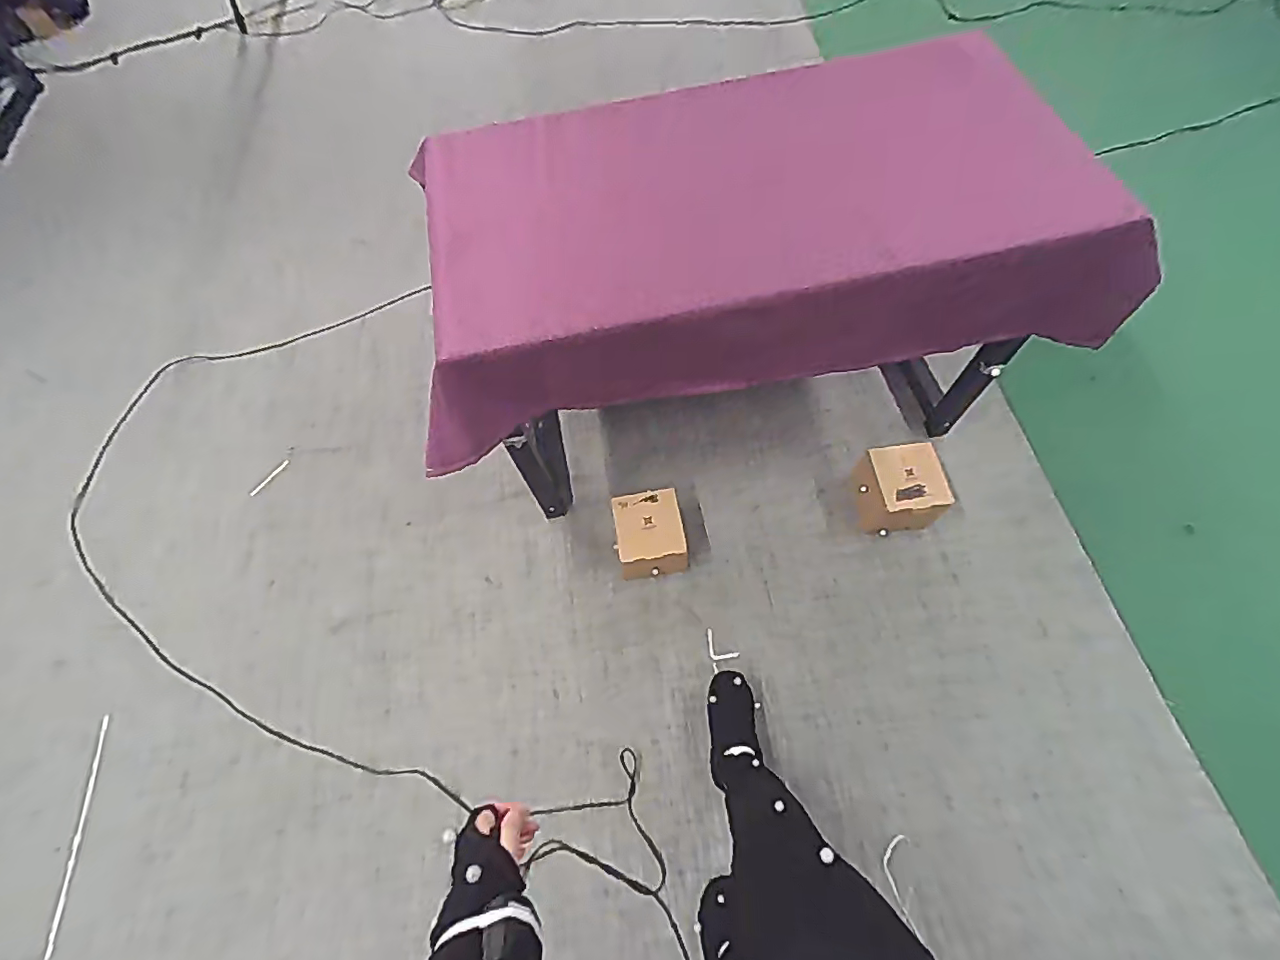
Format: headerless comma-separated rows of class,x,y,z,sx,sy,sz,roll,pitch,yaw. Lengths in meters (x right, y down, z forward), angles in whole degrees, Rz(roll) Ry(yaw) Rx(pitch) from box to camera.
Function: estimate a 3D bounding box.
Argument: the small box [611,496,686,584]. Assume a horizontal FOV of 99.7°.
small box,0.026,0.162,1.404,0.168,0.176,0.179,-10,64,0
